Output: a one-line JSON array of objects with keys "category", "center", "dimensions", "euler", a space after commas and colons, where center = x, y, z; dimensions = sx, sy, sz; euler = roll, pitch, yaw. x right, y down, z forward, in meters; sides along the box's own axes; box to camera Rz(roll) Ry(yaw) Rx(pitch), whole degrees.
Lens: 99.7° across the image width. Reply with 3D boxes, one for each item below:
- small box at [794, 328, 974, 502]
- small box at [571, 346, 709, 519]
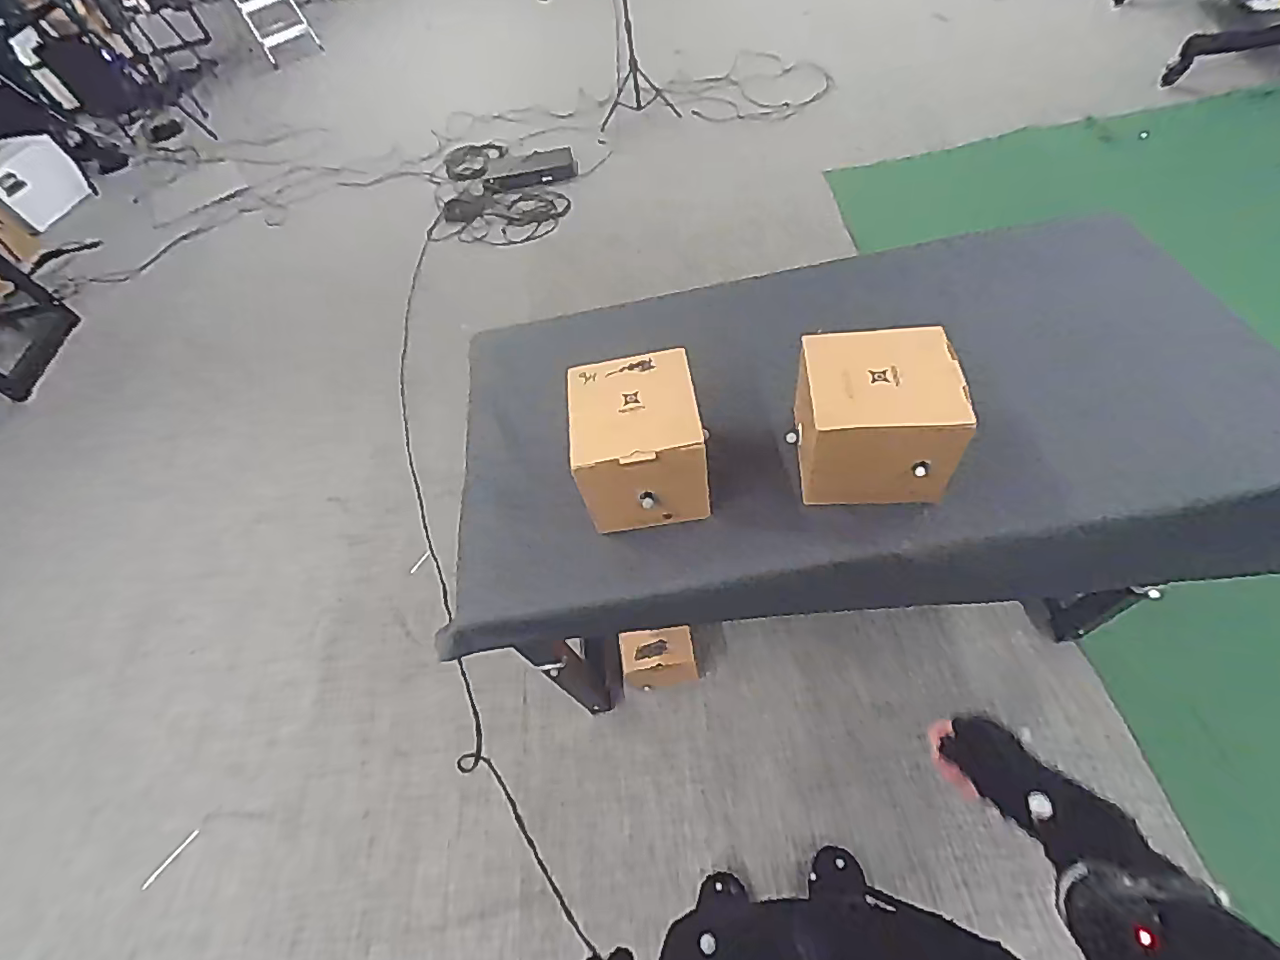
[{"category": "small box", "center": [0.309, -0.080, 0.728], "dimensions": [0.179, 0.176, 0.168], "euler": [-2, 56, 10]}, {"category": "small box", "center": [0.003, -0.057, 0.762], "dimensions": [0.168, 0.176, 0.179], "euler": [-8, 56, 4]}]
